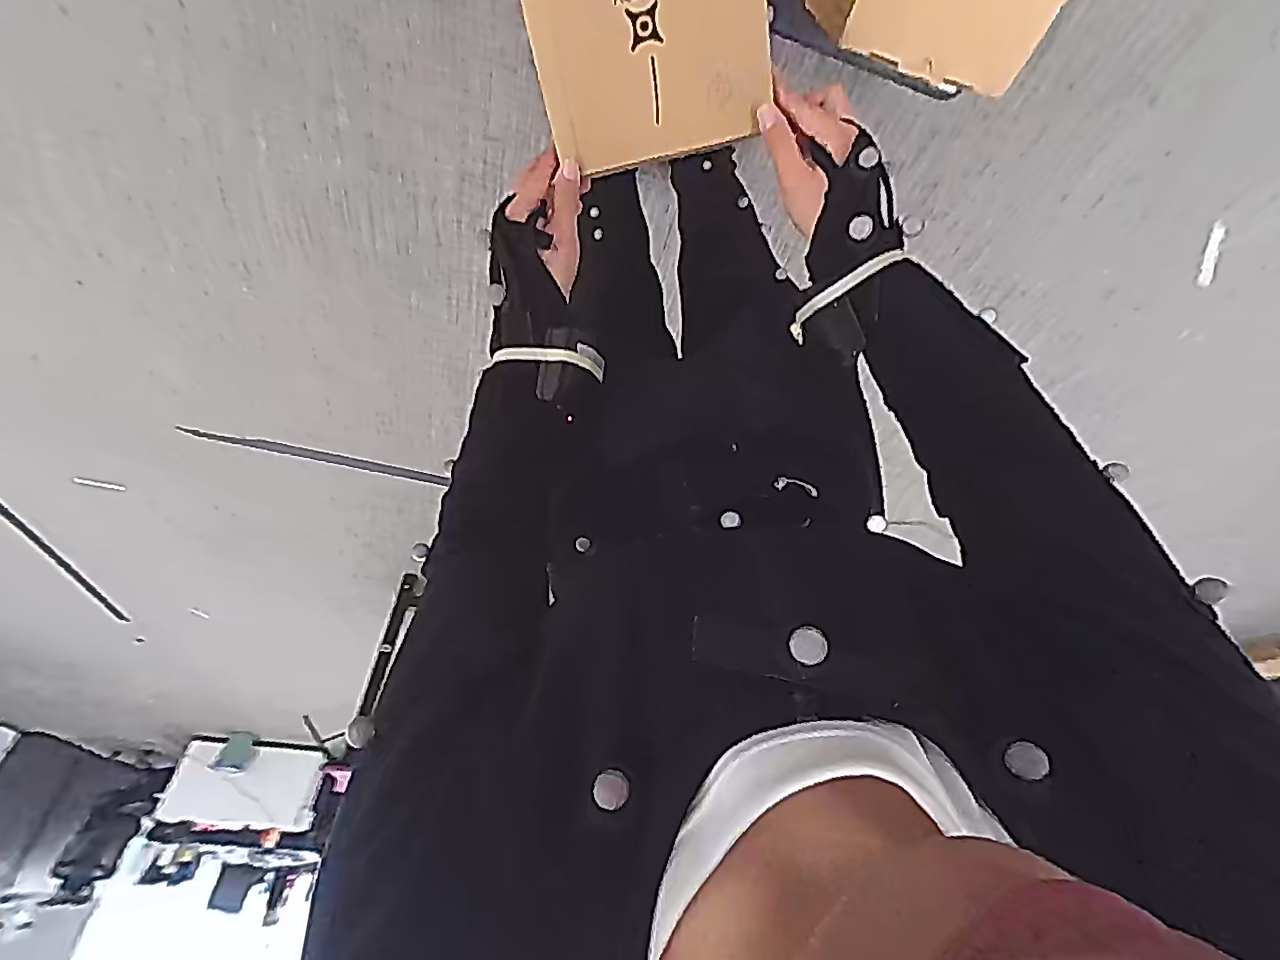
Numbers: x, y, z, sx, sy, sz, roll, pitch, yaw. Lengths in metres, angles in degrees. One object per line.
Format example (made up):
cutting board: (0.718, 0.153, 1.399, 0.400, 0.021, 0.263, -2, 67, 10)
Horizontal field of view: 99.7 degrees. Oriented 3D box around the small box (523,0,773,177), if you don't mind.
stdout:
small box: (0.007, -0.359, 0.439, 0.168, 0.176, 0.179, -8, 119, 8)
